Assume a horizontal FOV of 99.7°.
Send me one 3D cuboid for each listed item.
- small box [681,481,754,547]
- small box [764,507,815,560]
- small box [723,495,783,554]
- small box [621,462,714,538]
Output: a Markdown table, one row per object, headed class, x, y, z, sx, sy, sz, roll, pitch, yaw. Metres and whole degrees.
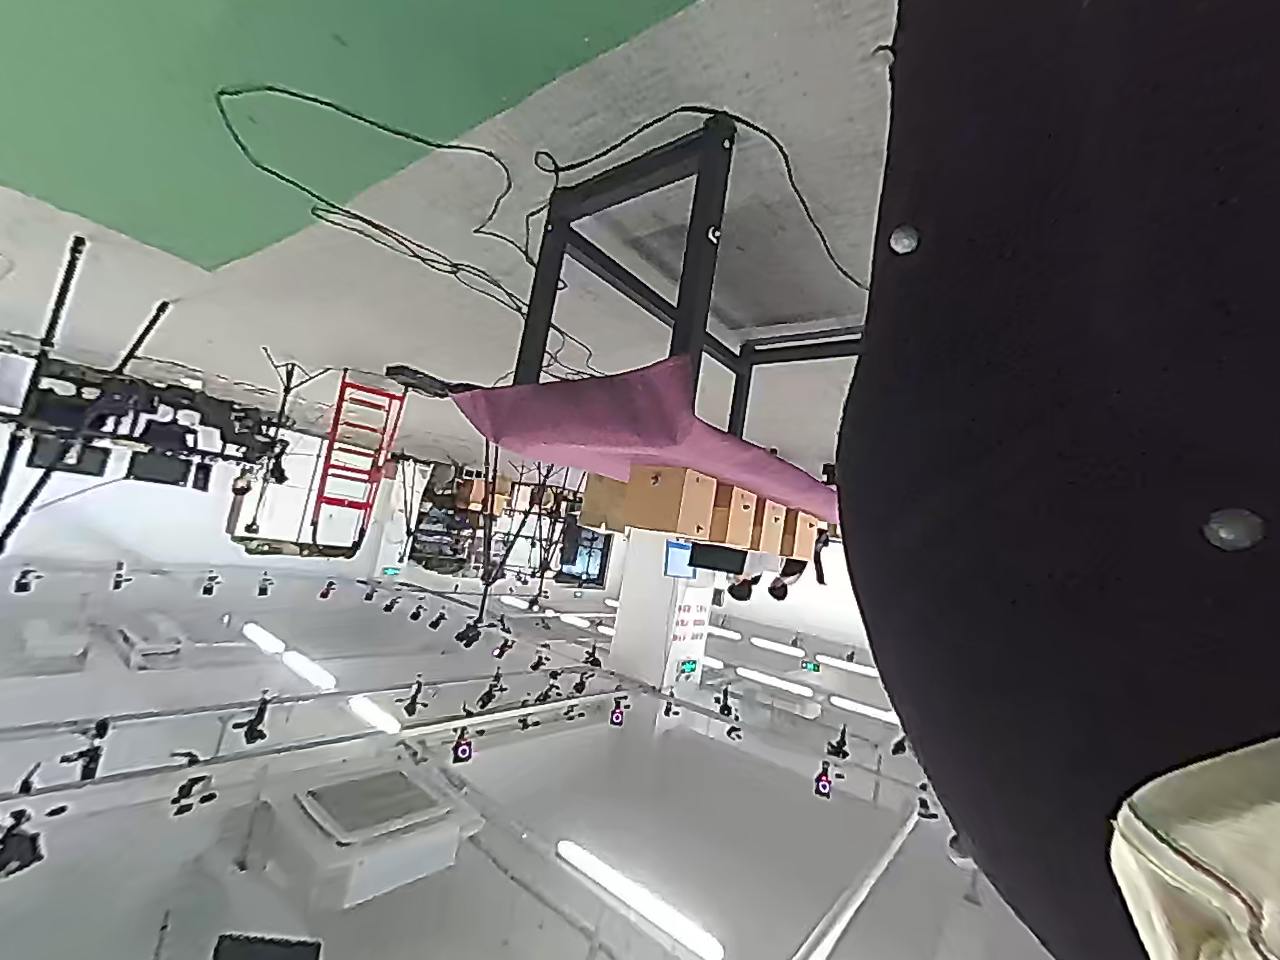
| class | x | y | z | sx | sy | sz | roll | pitch | yaw |
| --- | --- | --- | --- | --- | --- | --- | --- | --- | --- |
| small box | 0.224 | 0.098 | 1.620 | 0.179 | 0.176 | 0.168 | 4 | 171 | 36 |
| small box | 0.525 | 0.192 | 1.987 | 0.179 | 0.176 | 0.168 | 3 | 171 | 43 |
| small box | 0.360 | 0.143 | 1.806 | 0.179 | 0.176 | 0.168 | 4 | 172 | 38 |
| small box | 0.077 | 0.051 | 1.430 | 0.179 | 0.176 | 0.168 | 6 | 173 | 37 |
